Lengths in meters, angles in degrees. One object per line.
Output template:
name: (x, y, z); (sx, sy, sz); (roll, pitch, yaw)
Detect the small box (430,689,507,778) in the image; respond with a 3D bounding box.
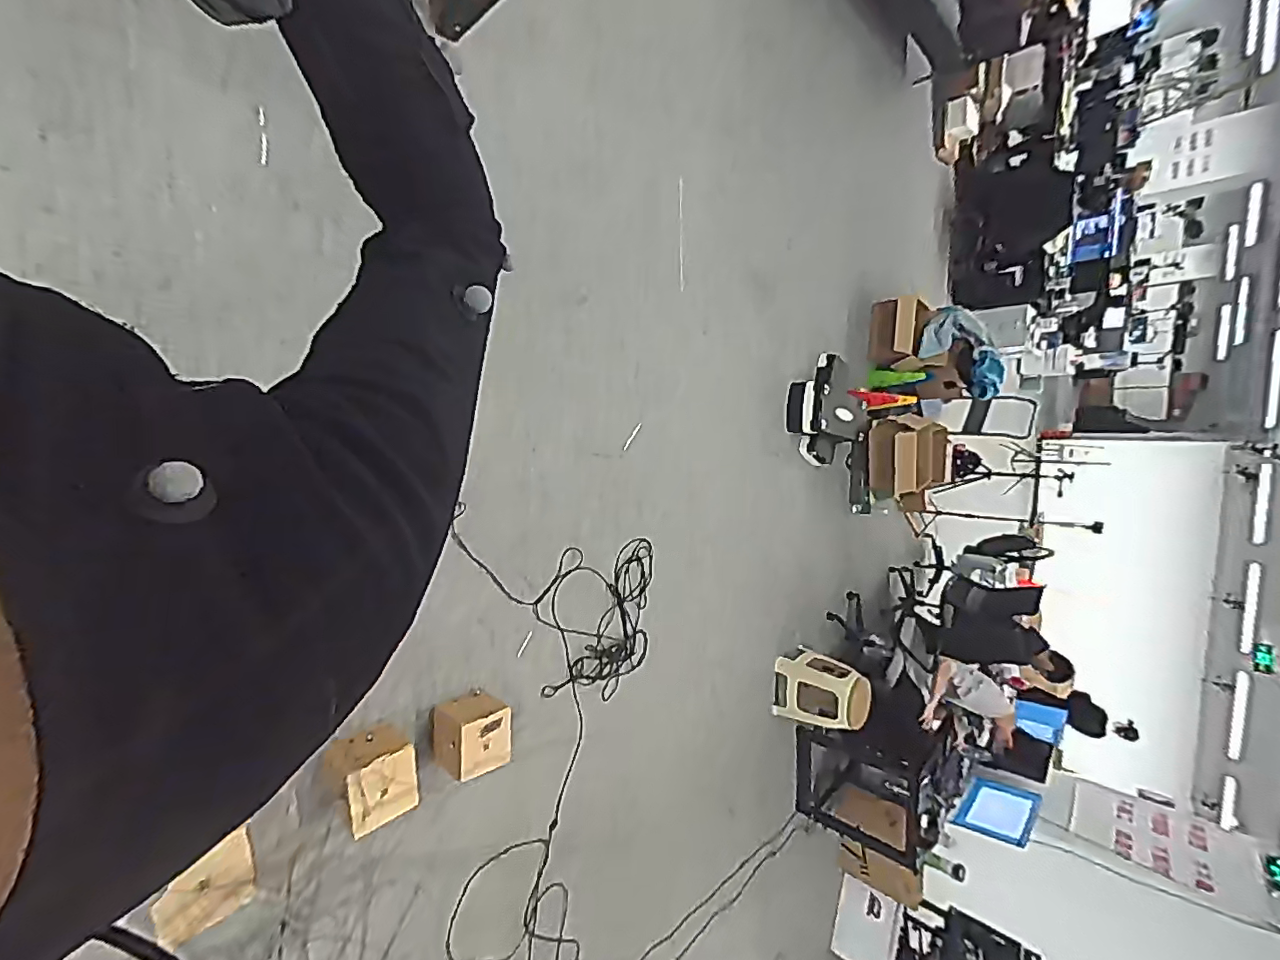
small box: (-0.521, 0.752, 1.638); (0.168, 0.176, 0.179); (-3, 97, -48)

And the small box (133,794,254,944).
small box: (-0.960, 0.814, 1.161); (0.168, 0.176, 0.179); (-12, 102, -46)

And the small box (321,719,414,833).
small box: (-0.718, 0.767, 1.424); (0.168, 0.176, 0.179); (-10, 100, -47)
